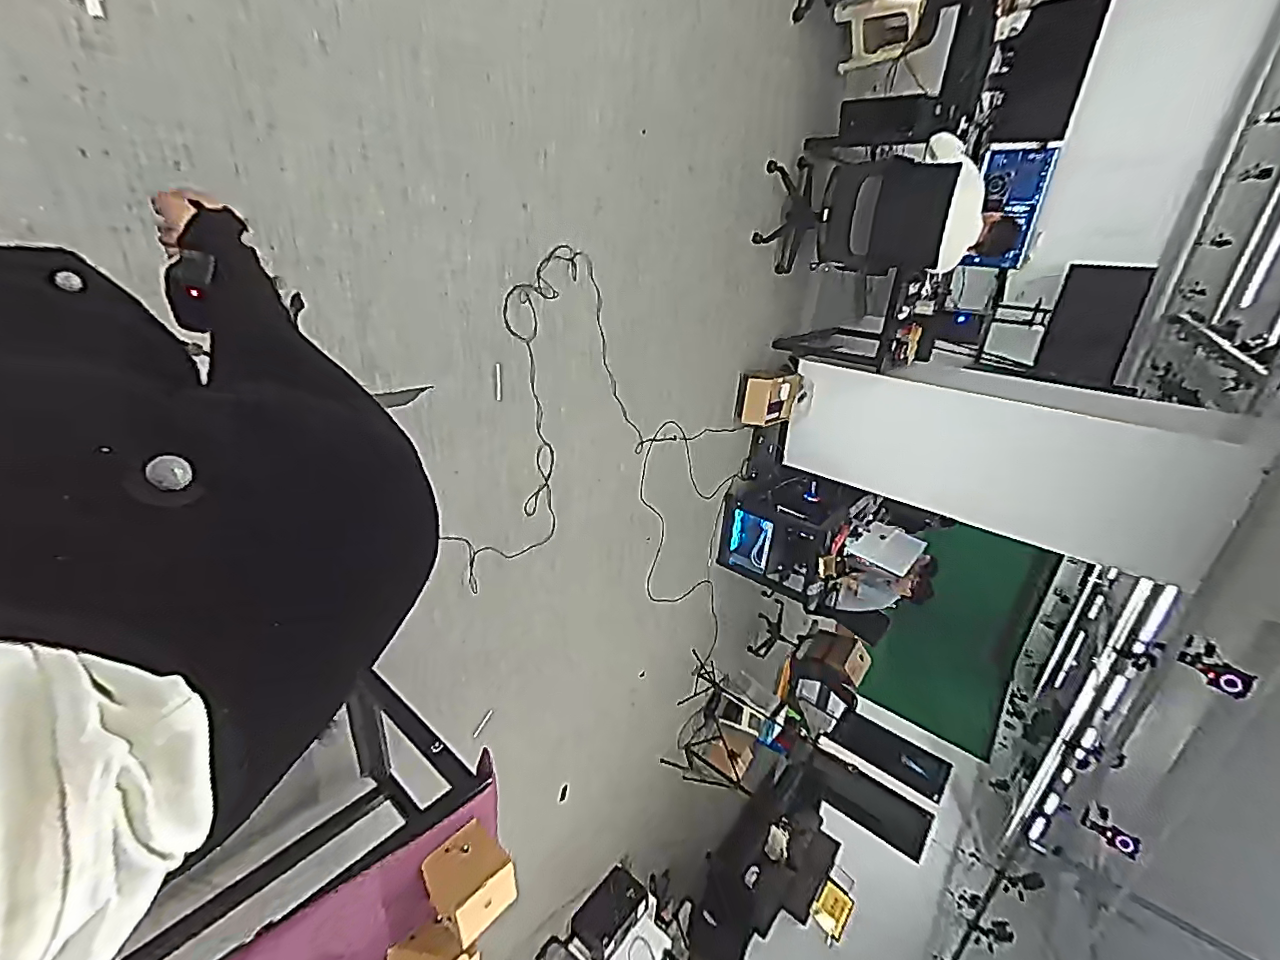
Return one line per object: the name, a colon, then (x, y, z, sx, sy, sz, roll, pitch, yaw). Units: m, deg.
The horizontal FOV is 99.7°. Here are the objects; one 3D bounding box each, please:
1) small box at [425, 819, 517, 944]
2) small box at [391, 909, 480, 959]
small box: (-0.447, 1.055, 1.435, 0.168, 0.176, 0.179, -26, 127, -42)
small box: (-0.545, 1.298, 1.437, 0.168, 0.176, 0.179, -15, 120, -49)
